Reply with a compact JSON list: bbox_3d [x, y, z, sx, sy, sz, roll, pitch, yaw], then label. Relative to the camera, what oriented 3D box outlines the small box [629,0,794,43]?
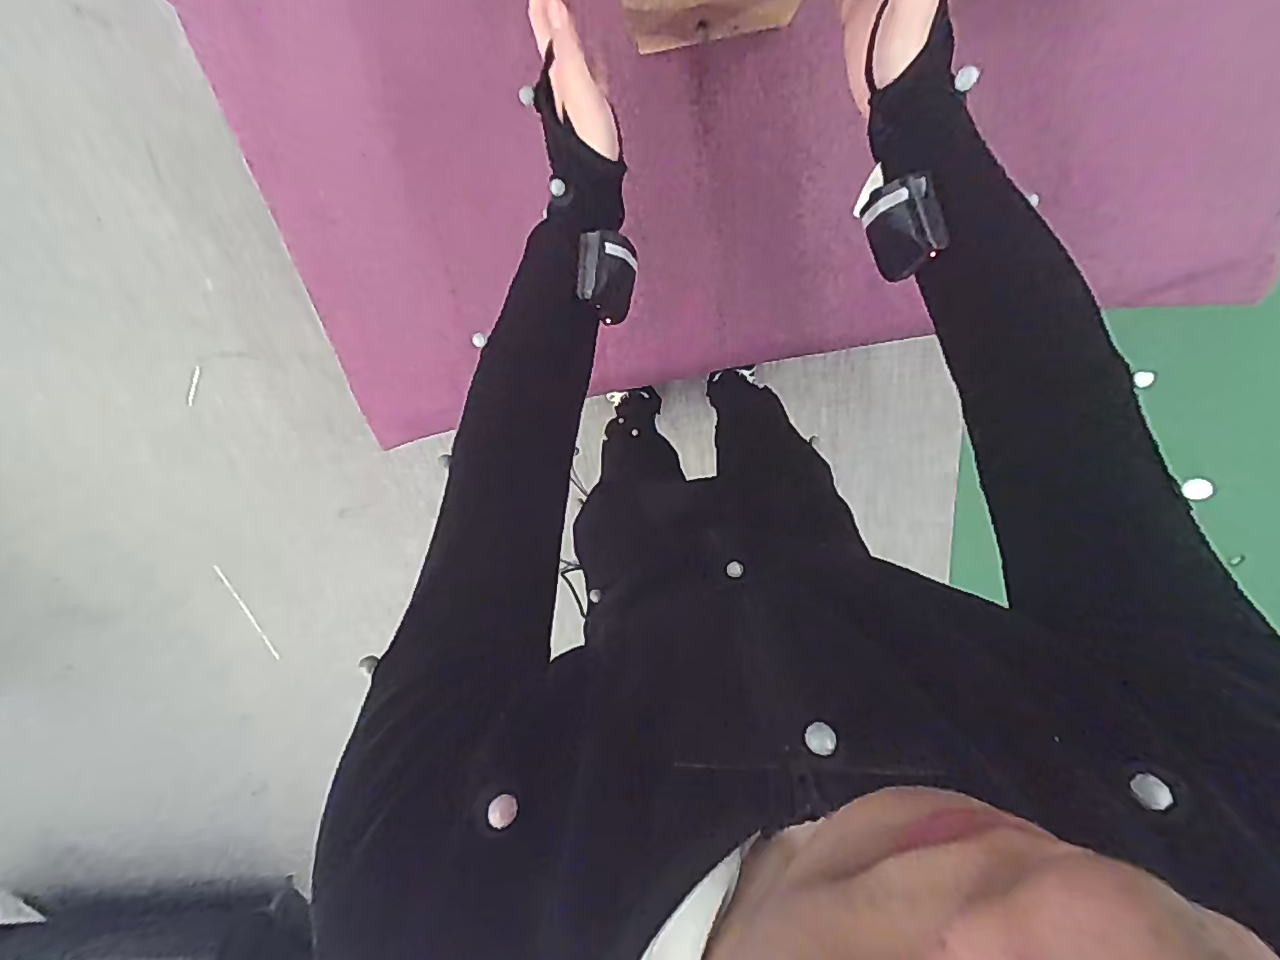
[{"bbox_3d":[0.061,-0.522,0.471,0.168,0.176,0.179,-6,118,7],"label":"small box"}]

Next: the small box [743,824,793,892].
[{"bbox_3d":[0.487,1.456,2.073,0.168,0.176,0.179,-4,117,6],"label":"small box"}]
